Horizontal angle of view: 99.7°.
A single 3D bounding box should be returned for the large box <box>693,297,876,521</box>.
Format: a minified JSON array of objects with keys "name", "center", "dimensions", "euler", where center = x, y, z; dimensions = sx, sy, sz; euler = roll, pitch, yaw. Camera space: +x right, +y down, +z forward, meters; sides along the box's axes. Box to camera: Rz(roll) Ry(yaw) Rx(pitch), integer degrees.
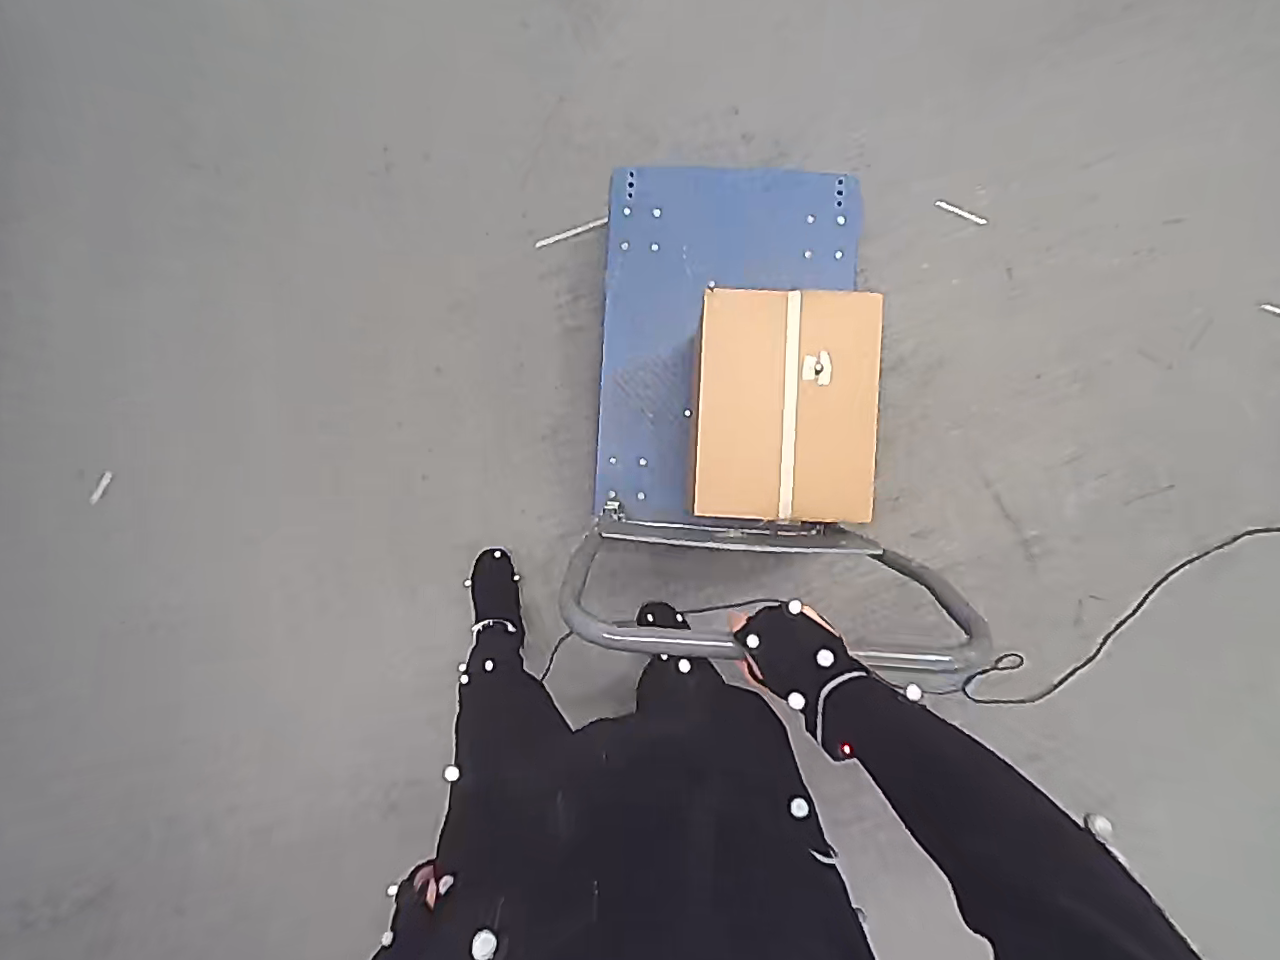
[{"name":"large box","center":[0.269,-0.124,1.109],"dimensions":[0.320,0.320,0.408],"euler":[2,90,1]}]
